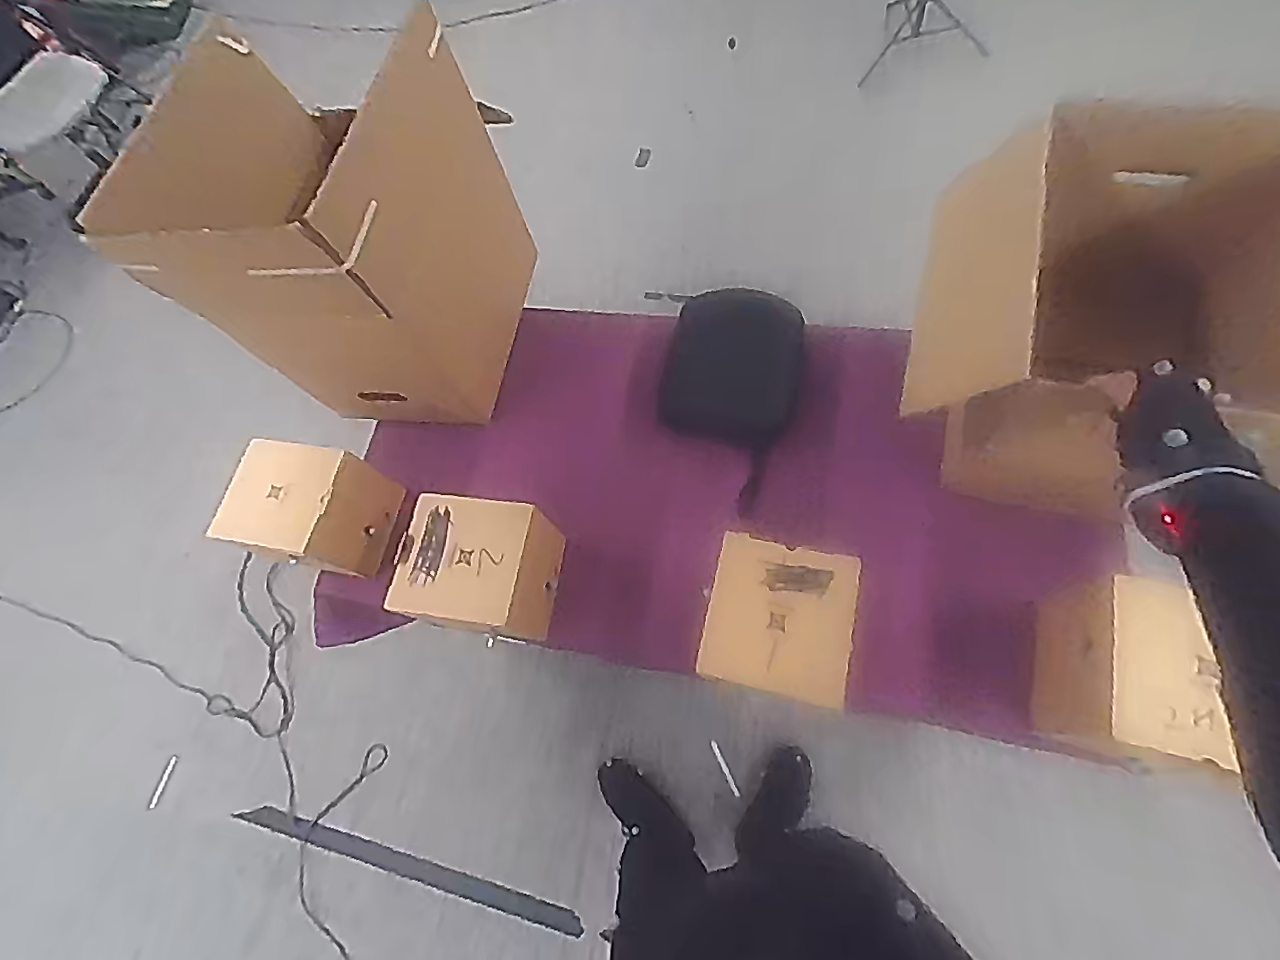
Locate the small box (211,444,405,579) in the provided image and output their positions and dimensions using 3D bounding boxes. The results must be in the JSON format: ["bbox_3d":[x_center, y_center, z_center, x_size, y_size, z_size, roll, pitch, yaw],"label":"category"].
[{"bbox_3d":[-0.526,0.057,0.882,0.179,0.176,0.168,7,69,11],"label":"small box"}]

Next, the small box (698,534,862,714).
[{"bbox_3d":[0.177,0.190,0.704,0.168,0.176,0.179,10,71,14],"label":"small box"}]

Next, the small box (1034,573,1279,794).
[{"bbox_3d":[0.581,0.228,0.615,0.168,0.176,0.179,13,70,16],"label":"small box"}]
